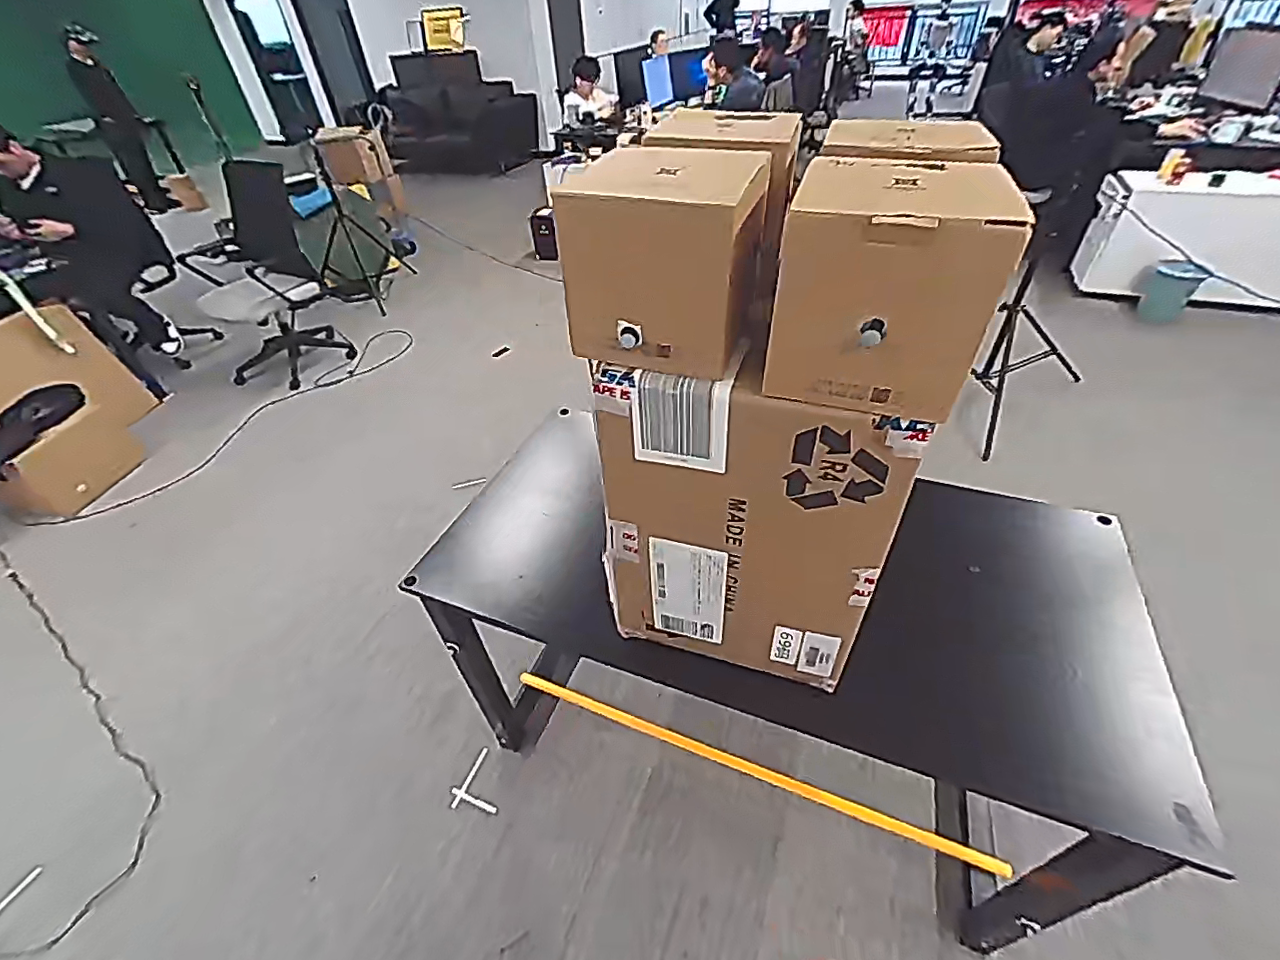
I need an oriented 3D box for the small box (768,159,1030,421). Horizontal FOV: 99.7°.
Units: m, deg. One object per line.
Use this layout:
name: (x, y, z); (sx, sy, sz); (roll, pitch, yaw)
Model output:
small box: (0.220, -0.177, 0.500); (0.168, 0.176, 0.179); (13, 45, 14)
